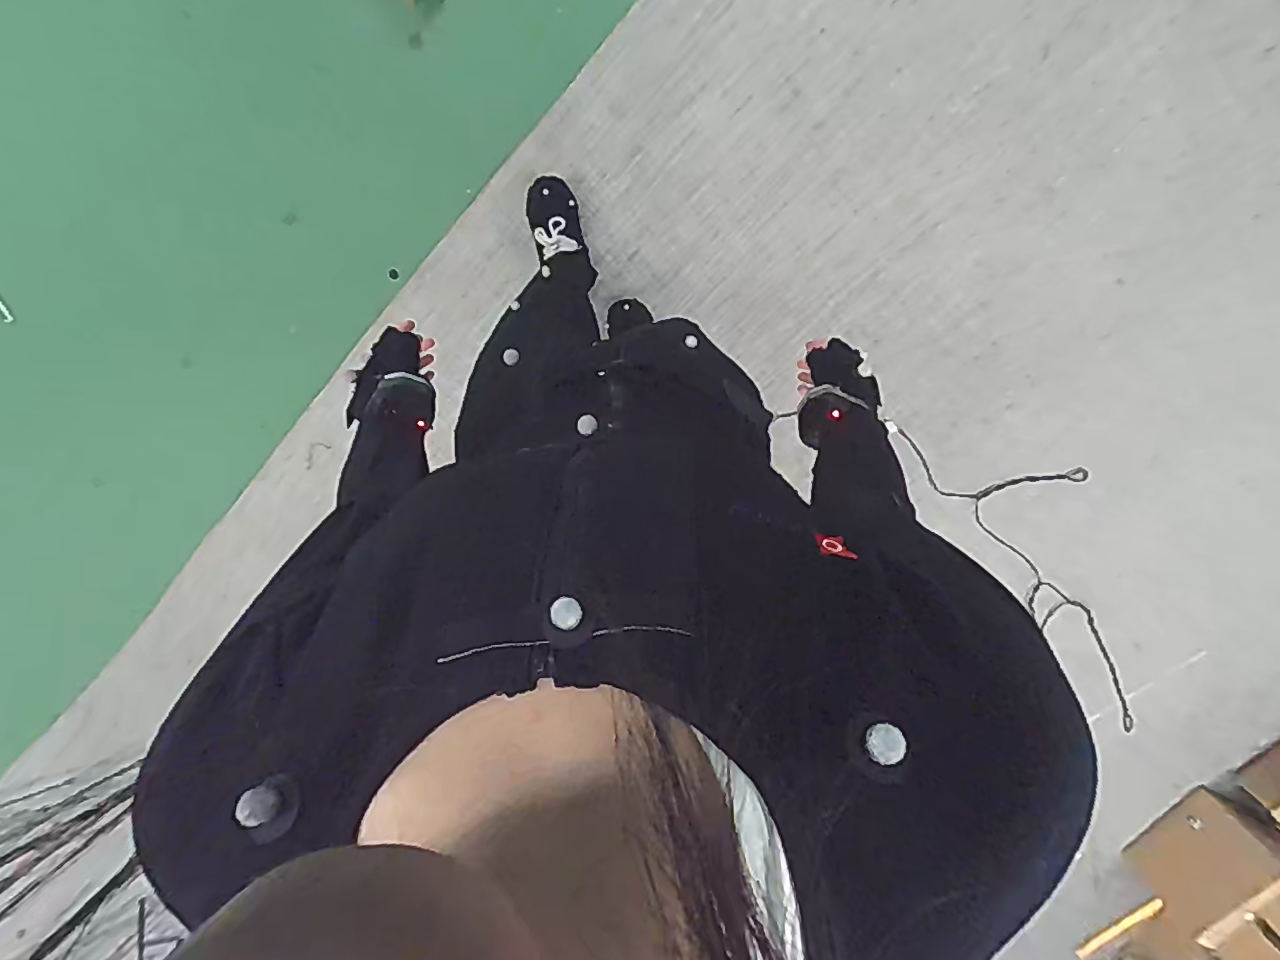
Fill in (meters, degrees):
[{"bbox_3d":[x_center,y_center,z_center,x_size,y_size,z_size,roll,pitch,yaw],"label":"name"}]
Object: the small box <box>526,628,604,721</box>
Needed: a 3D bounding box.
[{"bbox_3d":[-0.226,0.597,1.677,0.168,0.176,0.179,38,108,-15],"label":"small box"}]
